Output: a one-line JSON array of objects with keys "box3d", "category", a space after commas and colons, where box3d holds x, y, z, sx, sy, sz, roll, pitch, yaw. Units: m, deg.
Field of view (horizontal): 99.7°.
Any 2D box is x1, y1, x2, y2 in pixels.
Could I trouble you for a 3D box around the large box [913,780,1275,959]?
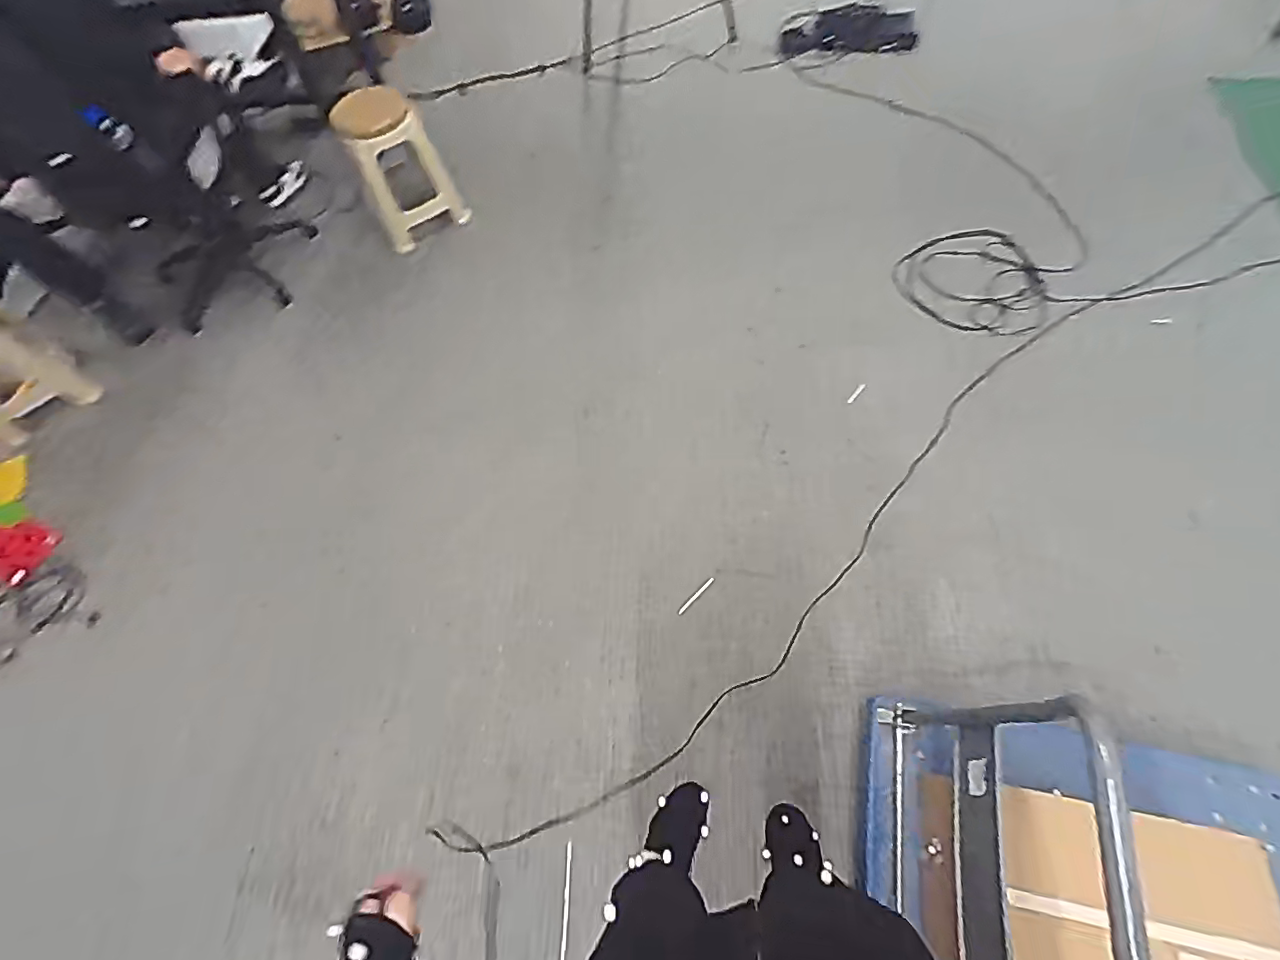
[{"box3d": [0.759, 0.748, 0.967, 0.408, 0.320, 0.320, 8, 65, 8], "category": "large box"}]
